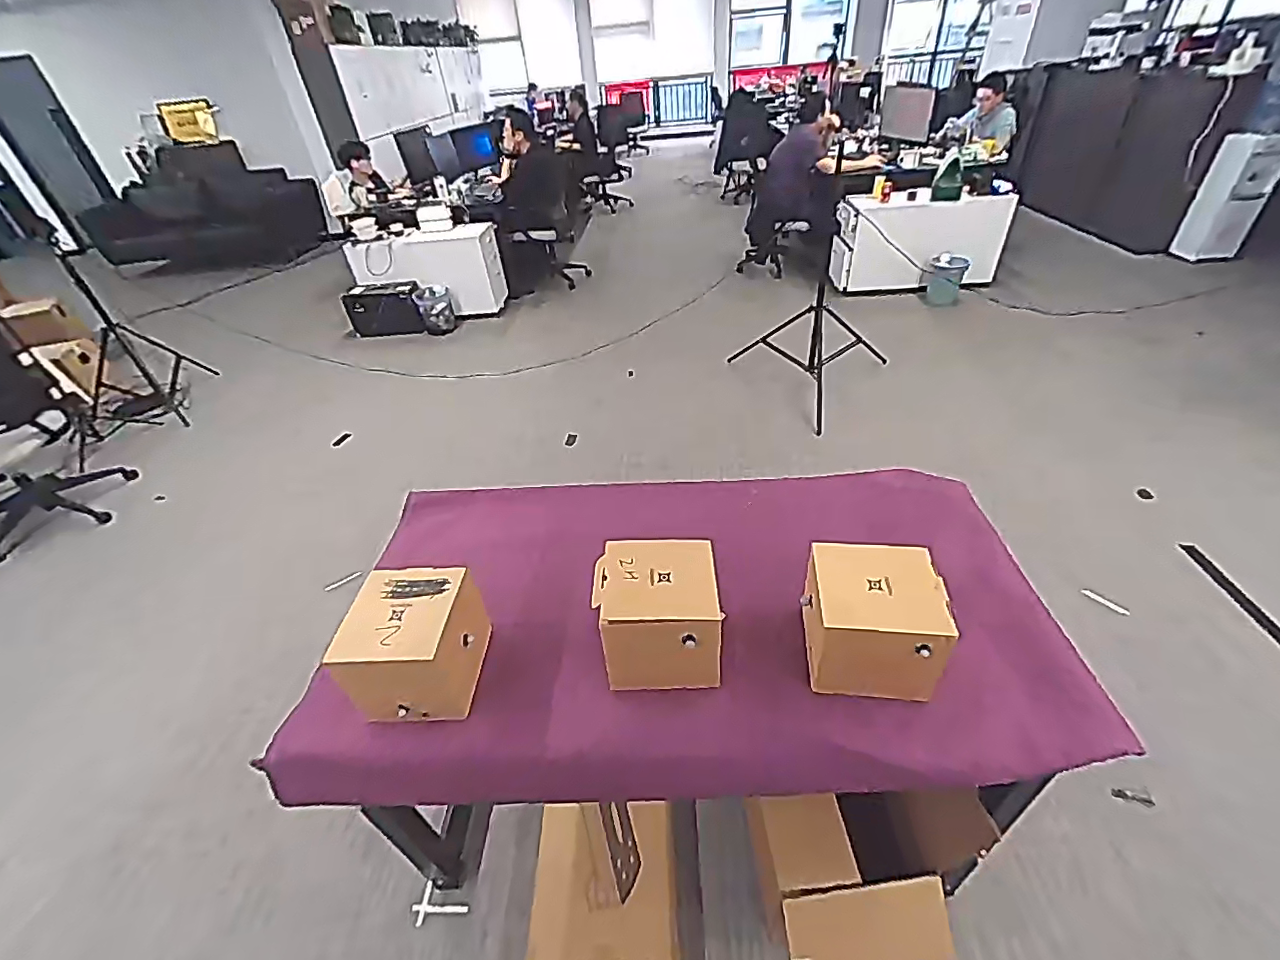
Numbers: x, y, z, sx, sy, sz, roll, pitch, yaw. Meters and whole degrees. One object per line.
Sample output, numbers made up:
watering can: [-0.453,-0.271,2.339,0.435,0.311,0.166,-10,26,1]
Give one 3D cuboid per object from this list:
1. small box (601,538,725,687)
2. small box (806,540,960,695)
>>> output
small box: [0.038,0.213,0.868,0.179,0.176,0.168,-3,36,3]
small box: [0.355,0.211,0.832,0.179,0.176,0.168,1,39,9]
